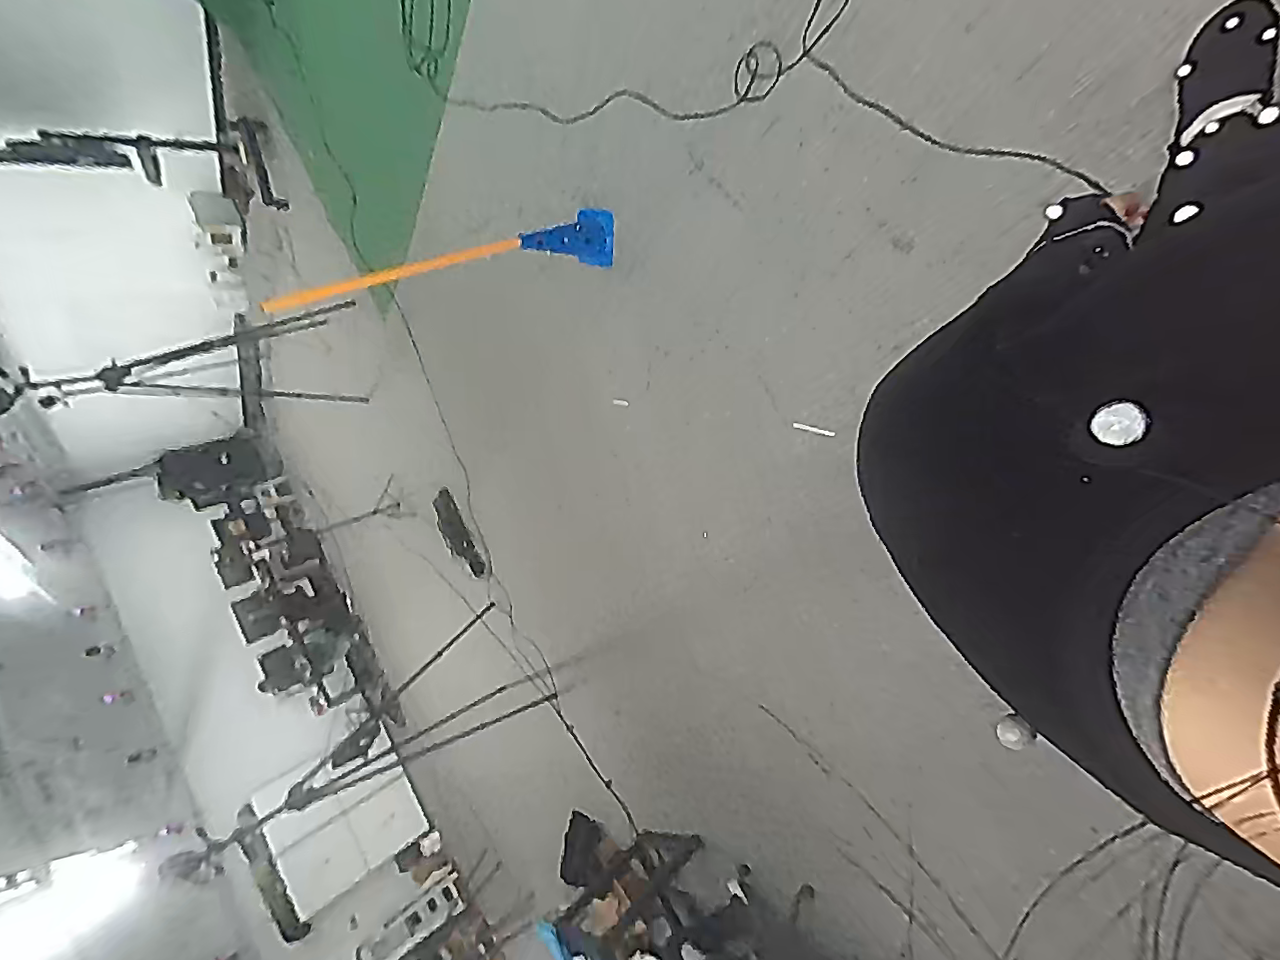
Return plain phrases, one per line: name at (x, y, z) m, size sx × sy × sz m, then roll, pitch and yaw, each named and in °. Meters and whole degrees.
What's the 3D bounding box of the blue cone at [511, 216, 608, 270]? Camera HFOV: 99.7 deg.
blue cone at (-0.300, -0.861, 1.989) m, size 0.192 × 0.380 × 0.193 m, roll 24°, pitch 126°, yaw 38°
